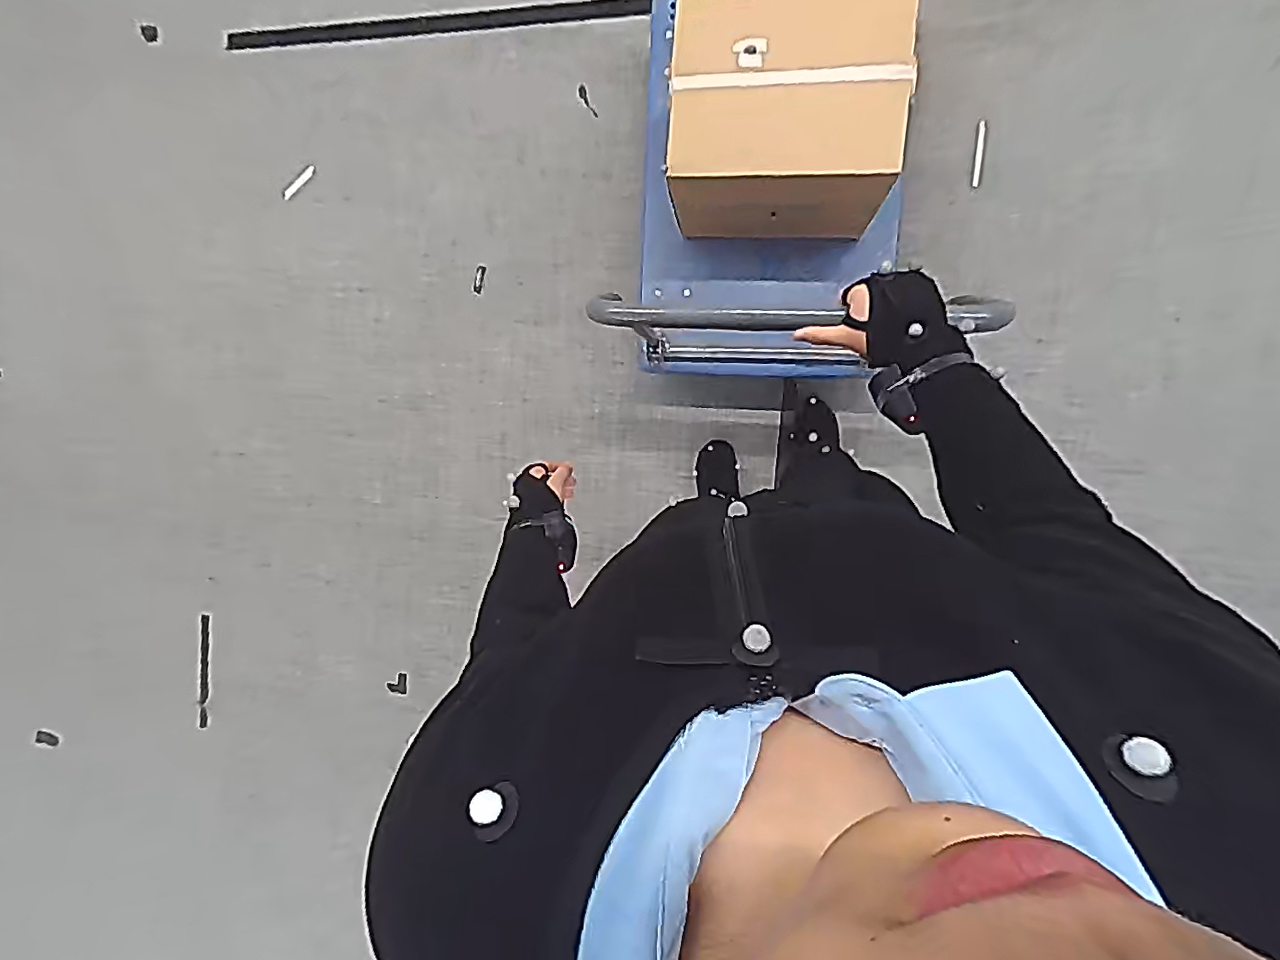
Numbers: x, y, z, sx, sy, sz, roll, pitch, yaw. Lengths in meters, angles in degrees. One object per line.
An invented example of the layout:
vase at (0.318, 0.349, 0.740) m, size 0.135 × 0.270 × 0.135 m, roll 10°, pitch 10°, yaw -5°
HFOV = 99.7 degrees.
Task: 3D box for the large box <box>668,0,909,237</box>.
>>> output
large box at (0.282, -0.705, 1.095) m, size 0.408 × 0.320 × 0.320 m, roll 4°, pitch 94°, yaw 11°
